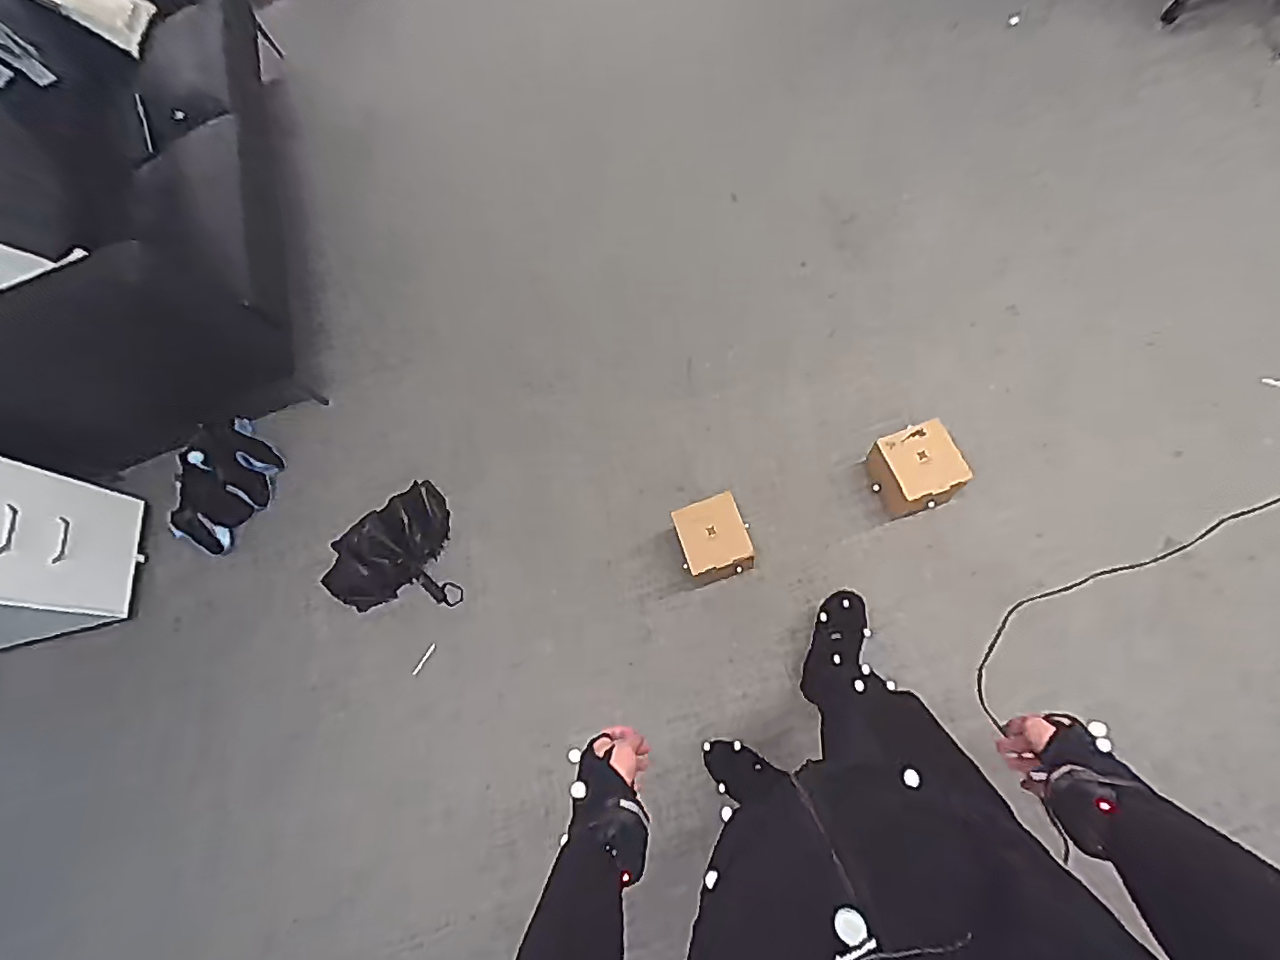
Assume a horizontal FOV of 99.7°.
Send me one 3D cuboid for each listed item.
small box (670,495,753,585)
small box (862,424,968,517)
[{"bbox_3d":[0.193,0.169,1.440,0.168,0.176,0.179,-20,66,1],"label":"small box"},{"bbox_3d":[0.707,-0.014,1.412,0.168,0.176,0.179,-20,68,3],"label":"small box"}]
